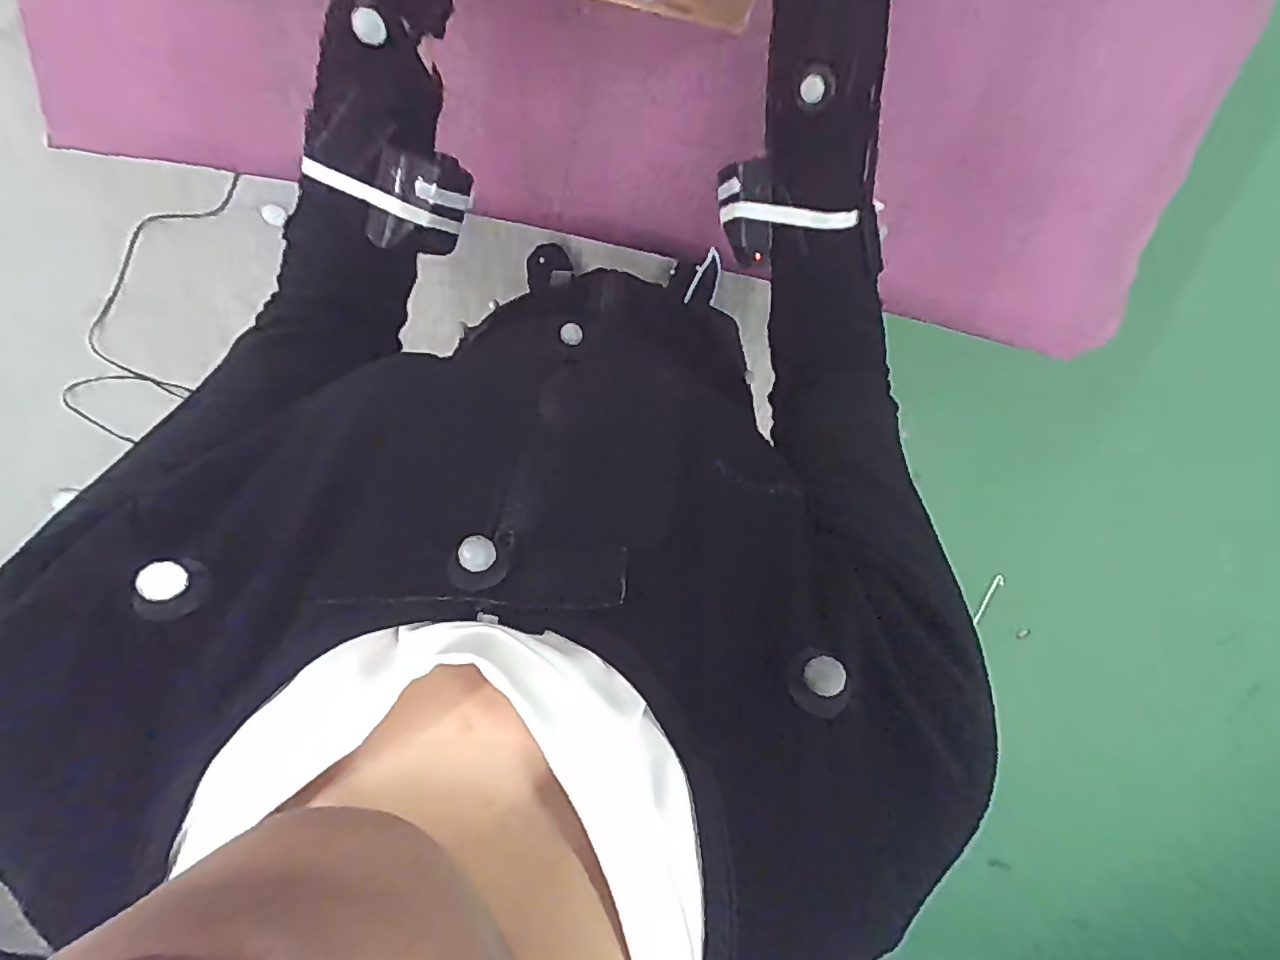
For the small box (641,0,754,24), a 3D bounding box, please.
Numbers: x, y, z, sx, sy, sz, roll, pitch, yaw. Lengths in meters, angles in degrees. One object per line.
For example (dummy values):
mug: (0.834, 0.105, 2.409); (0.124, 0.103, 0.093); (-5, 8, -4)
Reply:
small box: (0.042, -0.515, 0.431); (0.168, 0.176, 0.179); (11, 116, -4)
